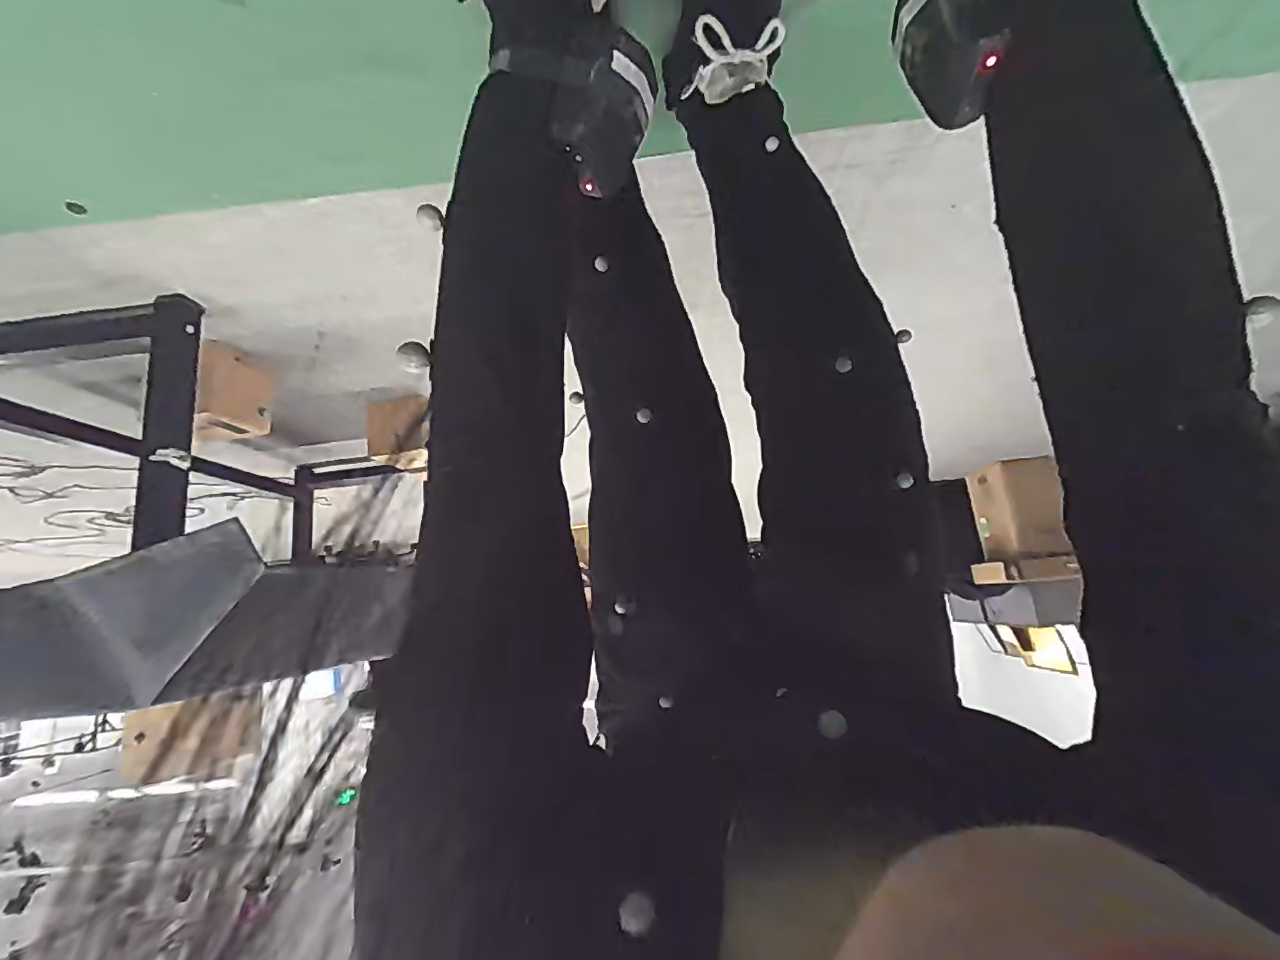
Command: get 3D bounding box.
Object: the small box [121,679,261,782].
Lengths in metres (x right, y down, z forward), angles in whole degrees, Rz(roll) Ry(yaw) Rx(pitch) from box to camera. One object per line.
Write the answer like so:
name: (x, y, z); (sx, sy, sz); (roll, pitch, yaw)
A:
small box: (-0.961, 0.534, 1.175); (0.179, 0.176, 0.168); (-7, 169, 5)
